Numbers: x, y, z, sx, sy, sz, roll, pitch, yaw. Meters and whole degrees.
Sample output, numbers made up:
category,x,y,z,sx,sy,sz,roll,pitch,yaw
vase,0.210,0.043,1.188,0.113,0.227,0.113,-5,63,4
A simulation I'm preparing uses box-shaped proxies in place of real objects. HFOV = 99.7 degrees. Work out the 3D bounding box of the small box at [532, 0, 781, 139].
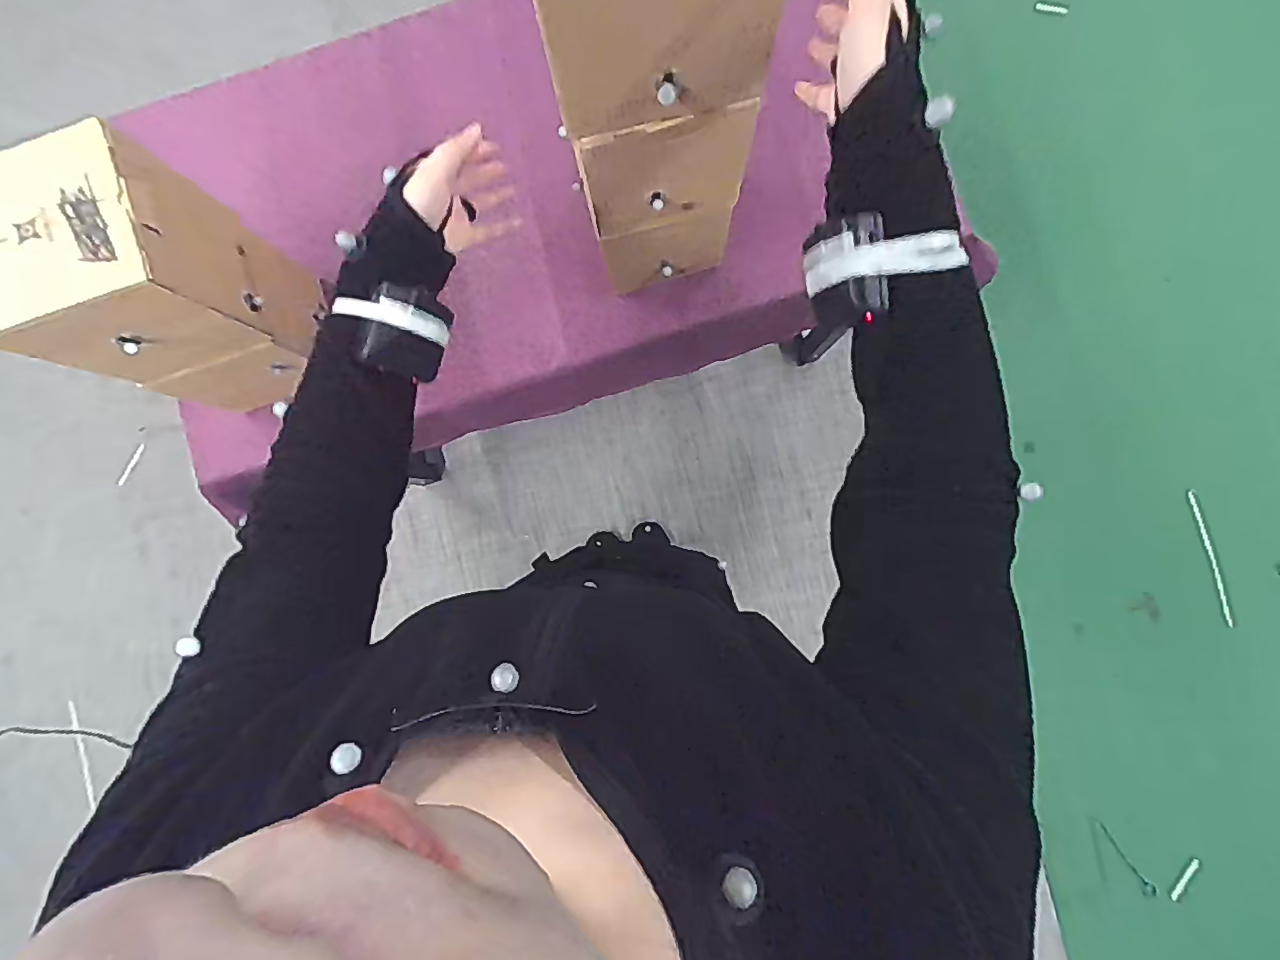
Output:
category,x,y,z,sx,sy,sz,roll,pitch,yaw
small box,0.002,-0.393,0.395,0.179,0.176,0.168,-13,87,0

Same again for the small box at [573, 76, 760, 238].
category,x,y,z,sx,sy,sz,roll,pitch,yaw
small box,0.009,-0.388,0.559,0.168,0.176,0.179,-14,88,1

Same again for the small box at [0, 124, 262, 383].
category,x,y,z,sx,sy,sz,roll,pitch,yaw
small box,-0.543,-0.219,0.570,0.179,0.176,0.168,-19,87,1

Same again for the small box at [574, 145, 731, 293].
category,x,y,z,sx,sy,sz,roll,pitch,yaw
small box,0.012,-0.379,0.722,0.168,0.176,0.179,-14,87,2
